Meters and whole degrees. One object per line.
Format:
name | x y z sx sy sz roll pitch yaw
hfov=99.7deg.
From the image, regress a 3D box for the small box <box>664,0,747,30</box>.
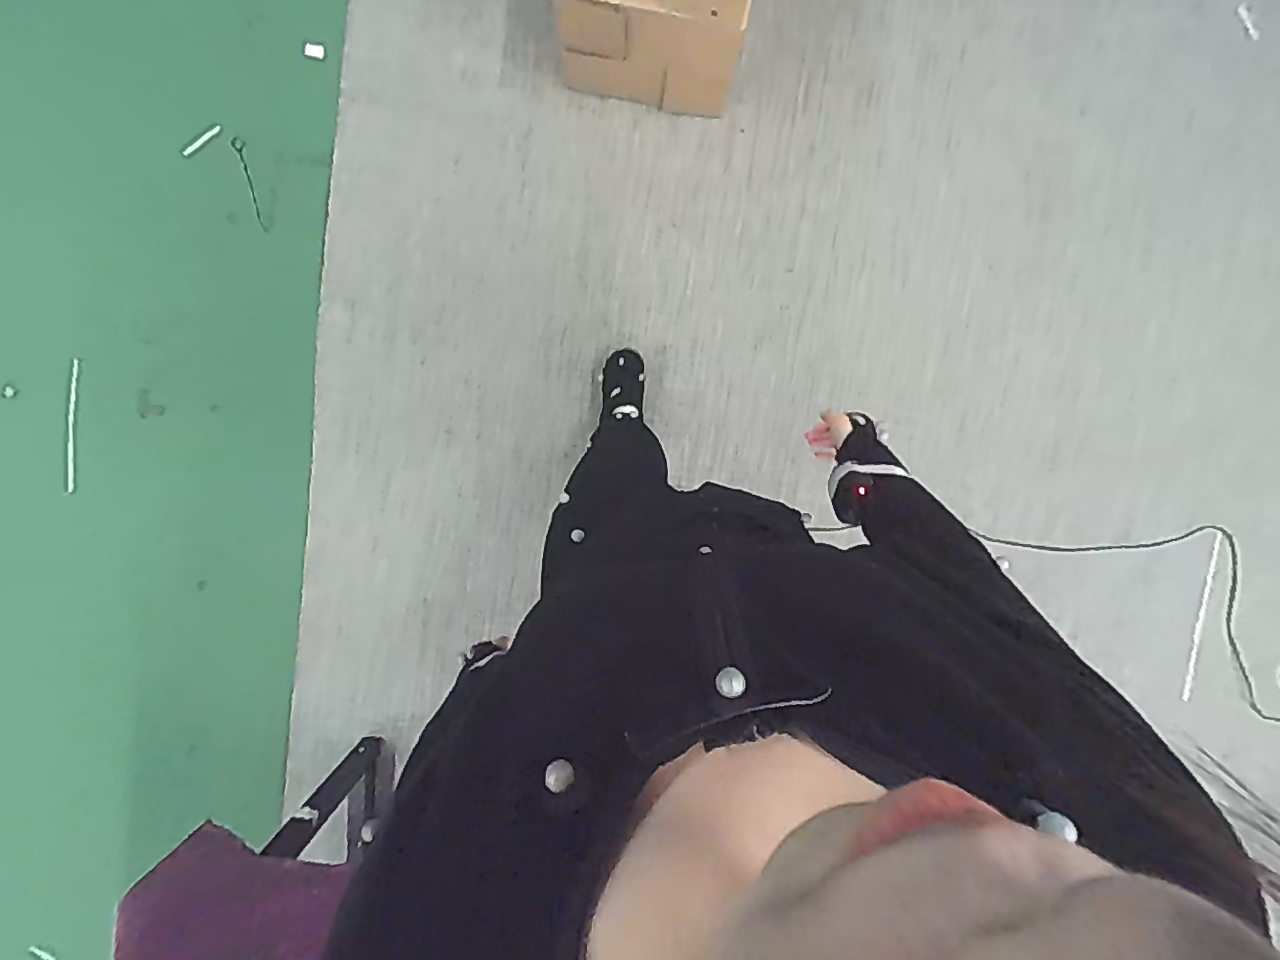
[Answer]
small box | 0.142 -1.007 1.008 0.168 0.176 0.179 13 92 -1
